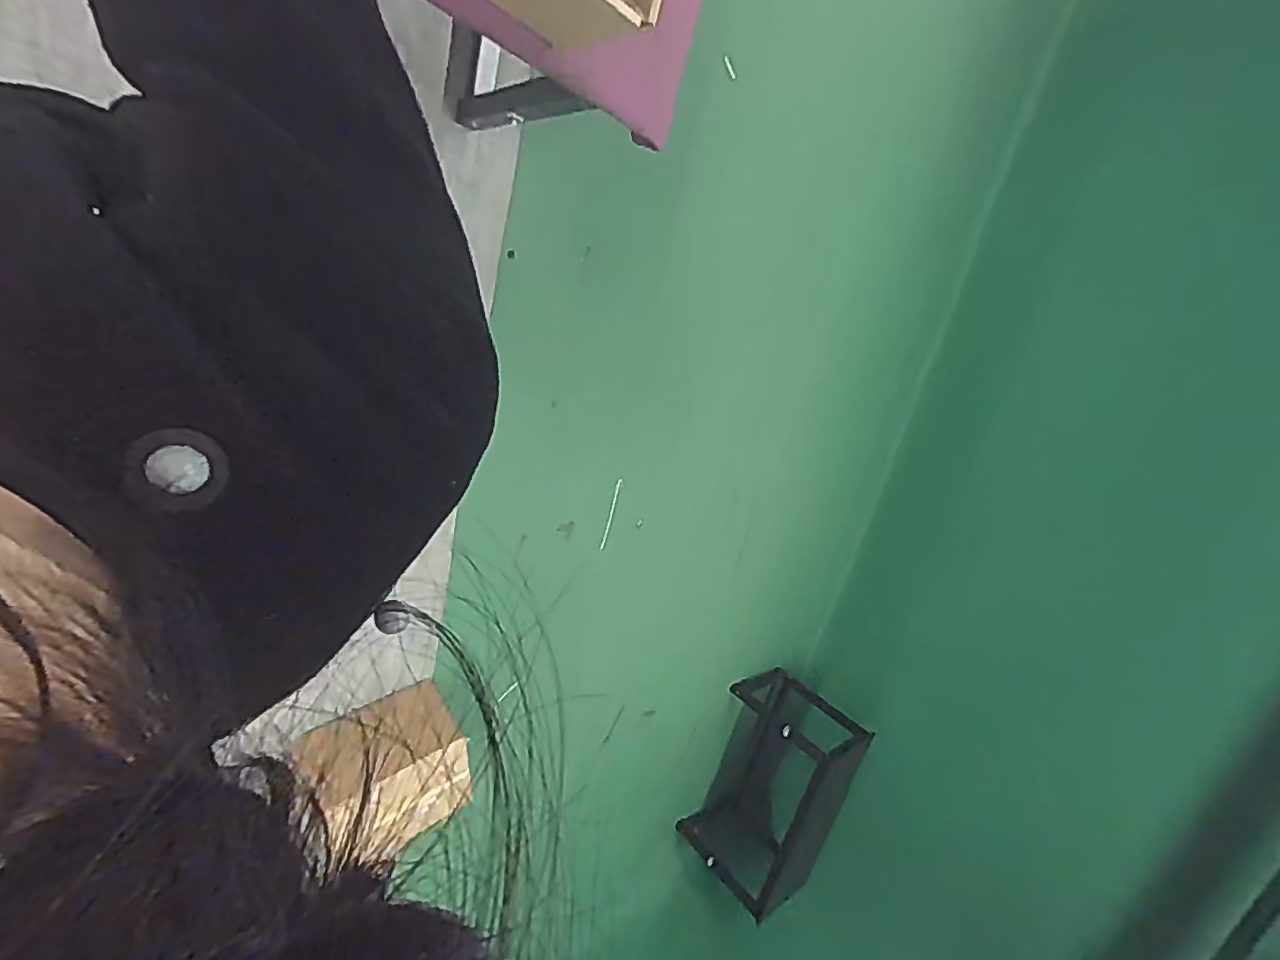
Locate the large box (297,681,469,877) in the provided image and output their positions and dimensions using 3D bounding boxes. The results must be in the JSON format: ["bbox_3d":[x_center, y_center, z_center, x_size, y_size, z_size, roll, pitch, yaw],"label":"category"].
[{"bbox_3d":[-0.817,0.934,1.742,0.408,0.320,0.320,-17,123,-38],"label":"large box"}]
